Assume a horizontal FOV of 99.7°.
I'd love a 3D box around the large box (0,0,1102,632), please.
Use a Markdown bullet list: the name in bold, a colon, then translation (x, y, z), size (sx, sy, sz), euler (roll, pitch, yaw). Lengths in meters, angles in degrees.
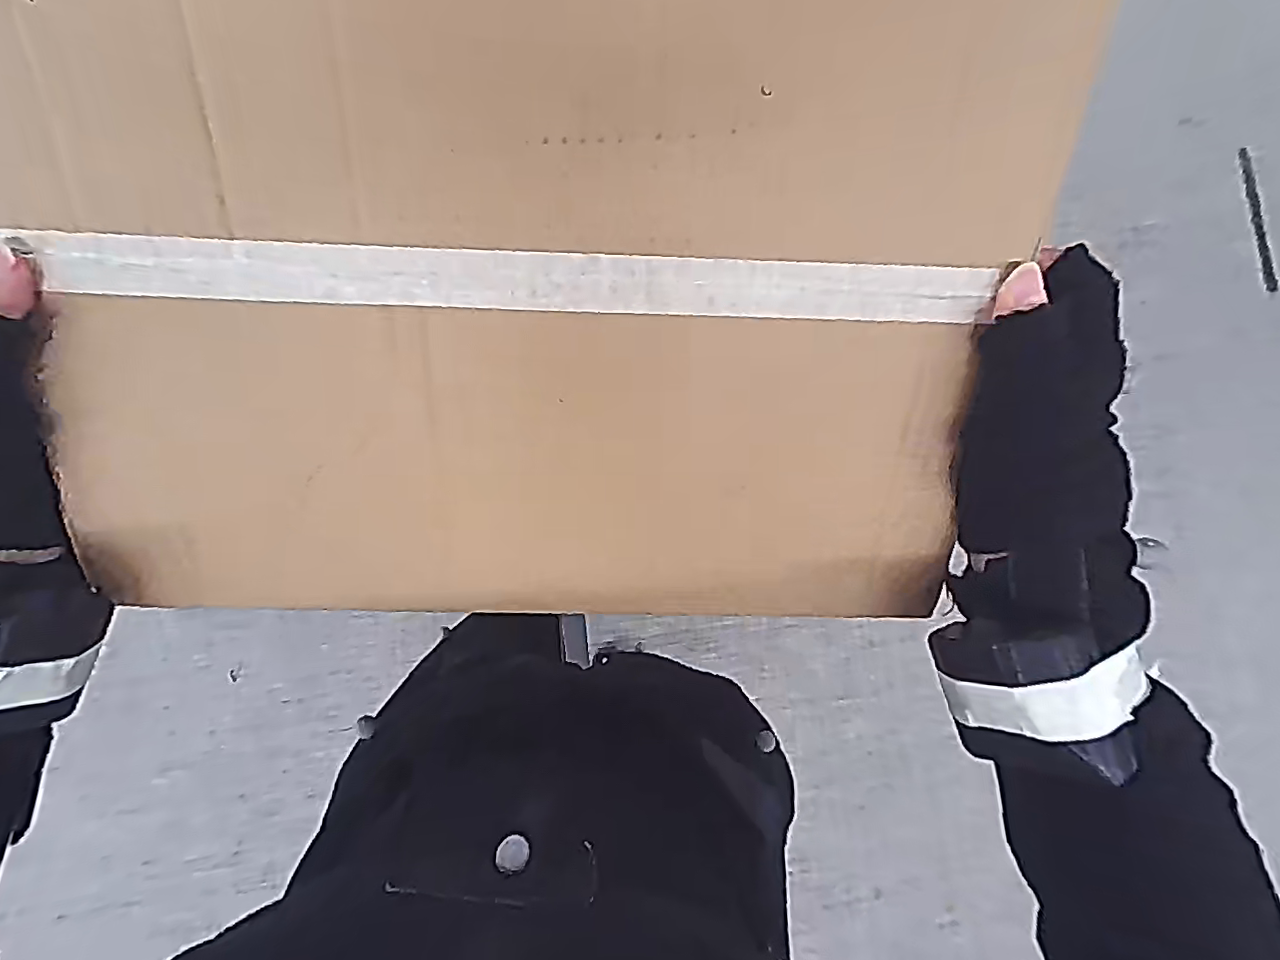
- **large box**: translation (-0.049, -0.121, 0.357), size (0.408, 0.320, 0.320), euler (1, 113, -3)
